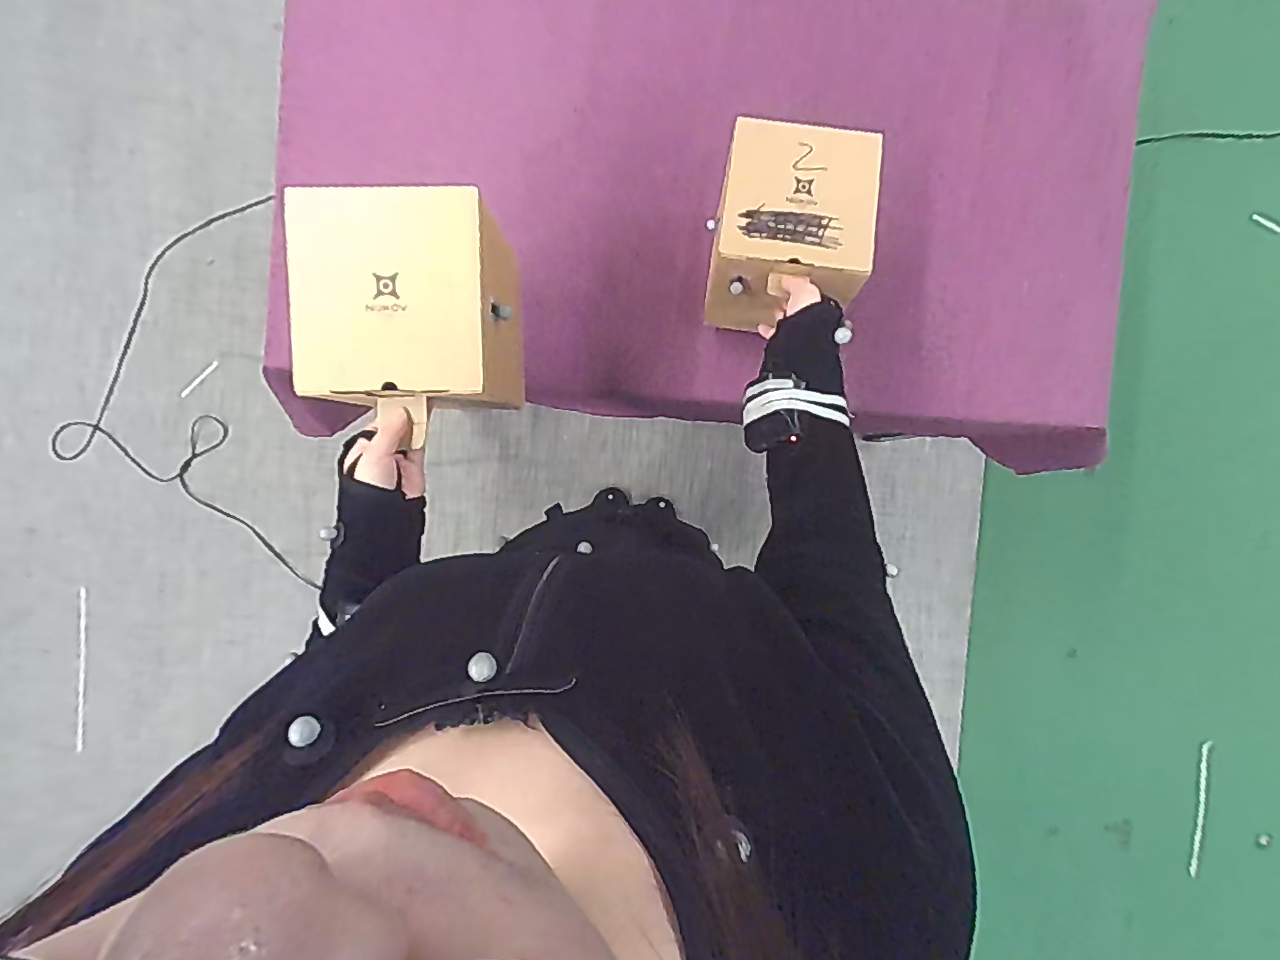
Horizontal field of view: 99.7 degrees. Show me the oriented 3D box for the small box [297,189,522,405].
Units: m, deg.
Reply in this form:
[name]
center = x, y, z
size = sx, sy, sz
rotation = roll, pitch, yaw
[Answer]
[small box]
center = -0.220, -0.172, 0.558
size = 0.168, 0.176, 0.179
rotation = 0, 94, -1
